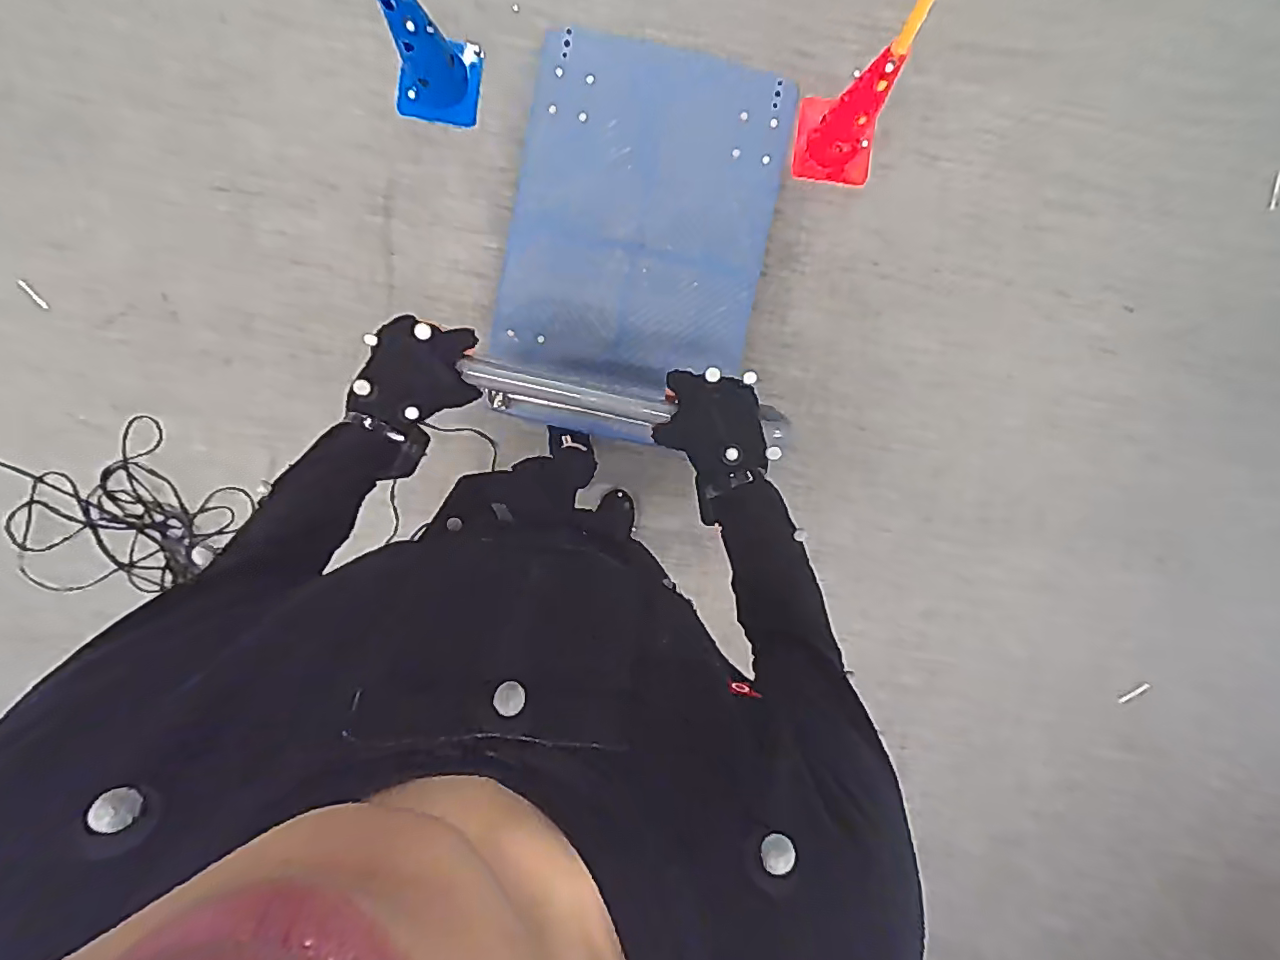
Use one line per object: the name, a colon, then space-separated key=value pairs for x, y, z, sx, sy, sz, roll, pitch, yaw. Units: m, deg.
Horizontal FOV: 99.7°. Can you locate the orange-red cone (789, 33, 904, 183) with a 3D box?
orange-red cone: x=0.494 y=-0.864 z=1.226 sx=0.199 sy=0.360 sz=0.198 roll=9 pitch=95 yaw=0
